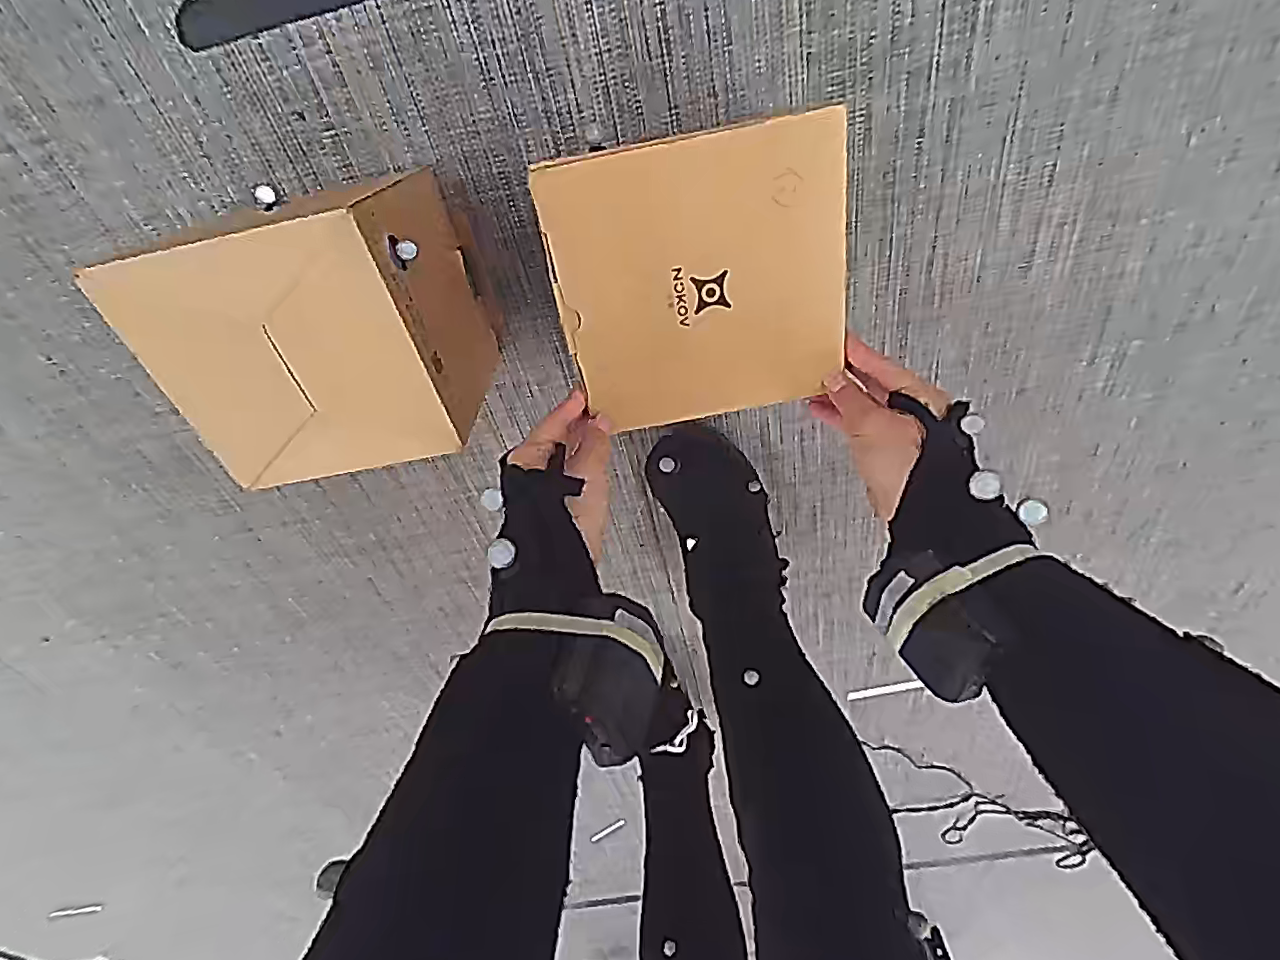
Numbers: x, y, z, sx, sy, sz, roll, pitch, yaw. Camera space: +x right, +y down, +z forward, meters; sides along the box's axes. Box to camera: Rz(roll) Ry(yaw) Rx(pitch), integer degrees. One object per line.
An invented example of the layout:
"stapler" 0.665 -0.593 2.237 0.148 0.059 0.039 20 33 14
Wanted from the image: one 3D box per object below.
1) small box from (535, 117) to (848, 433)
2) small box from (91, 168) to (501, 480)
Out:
"small box" 0.035 -0.157 0.401 0.179 0.176 0.168 -10 122 3
"small box" -0.229 -0.119 0.416 0.179 0.176 0.168 -10 127 4
